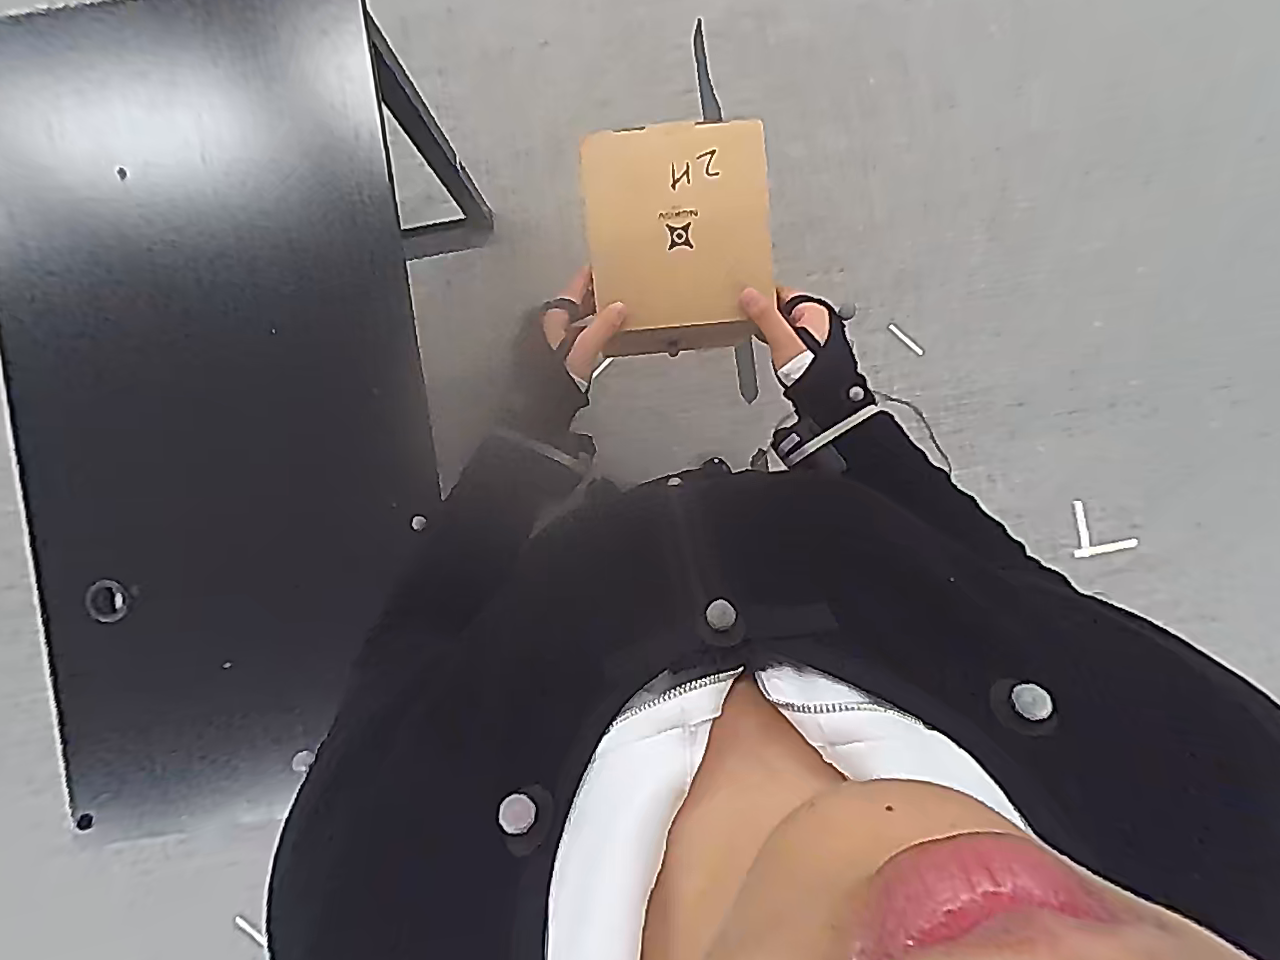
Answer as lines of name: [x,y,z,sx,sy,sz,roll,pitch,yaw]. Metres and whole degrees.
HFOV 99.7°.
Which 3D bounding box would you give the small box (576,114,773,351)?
small box: [0.031,-0.234,0.559,0.168,0.176,0.179,-6,94,-1]
